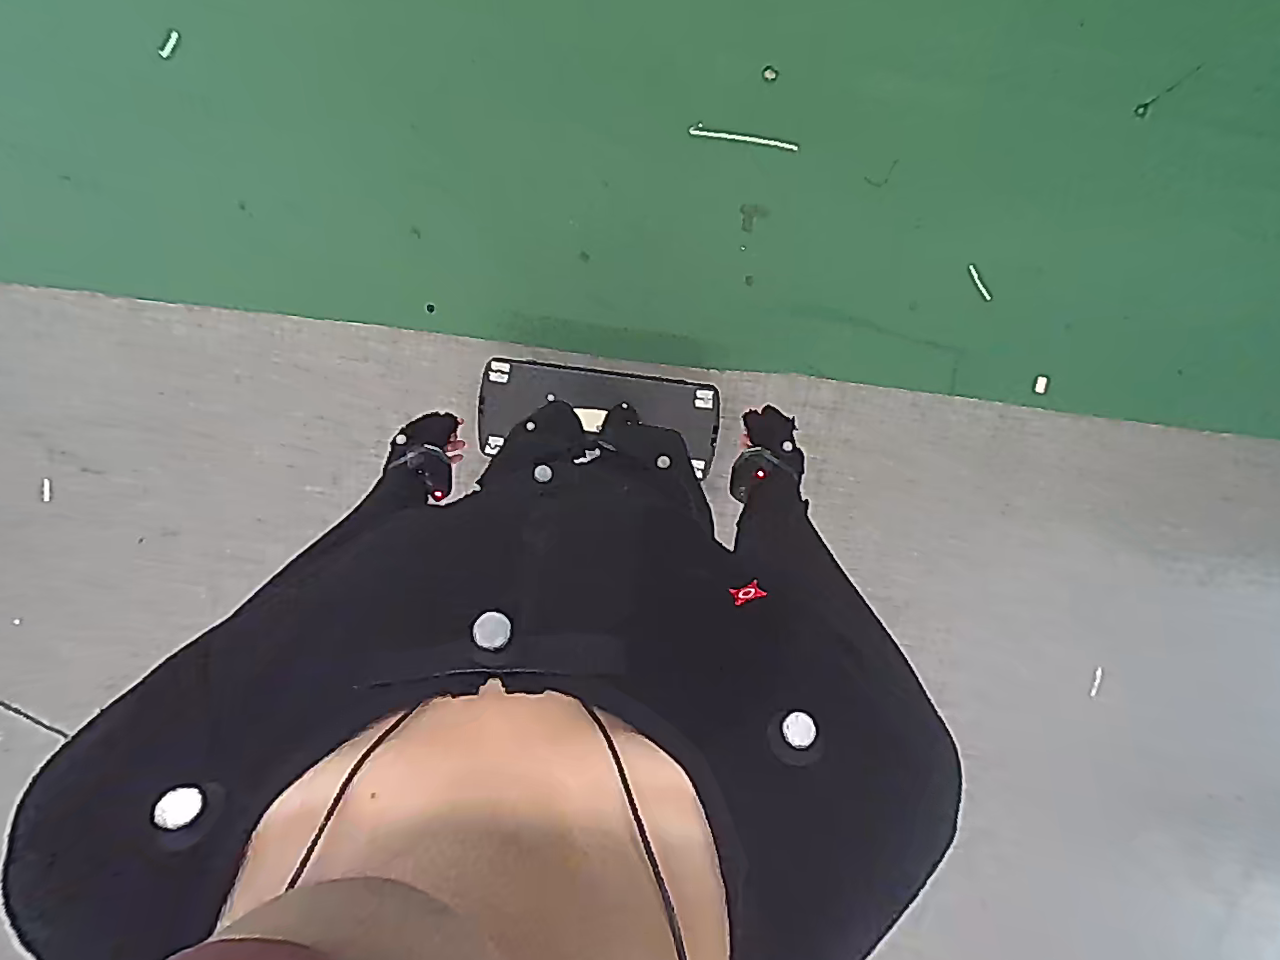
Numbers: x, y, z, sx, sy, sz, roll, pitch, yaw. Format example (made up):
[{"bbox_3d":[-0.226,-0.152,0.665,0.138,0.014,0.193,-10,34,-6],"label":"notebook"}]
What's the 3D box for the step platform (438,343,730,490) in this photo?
[{"bbox_3d":[-0.131,-0.157,1.355,0.684,0.204,0.286,6,99,-2],"label":"step platform"}]
